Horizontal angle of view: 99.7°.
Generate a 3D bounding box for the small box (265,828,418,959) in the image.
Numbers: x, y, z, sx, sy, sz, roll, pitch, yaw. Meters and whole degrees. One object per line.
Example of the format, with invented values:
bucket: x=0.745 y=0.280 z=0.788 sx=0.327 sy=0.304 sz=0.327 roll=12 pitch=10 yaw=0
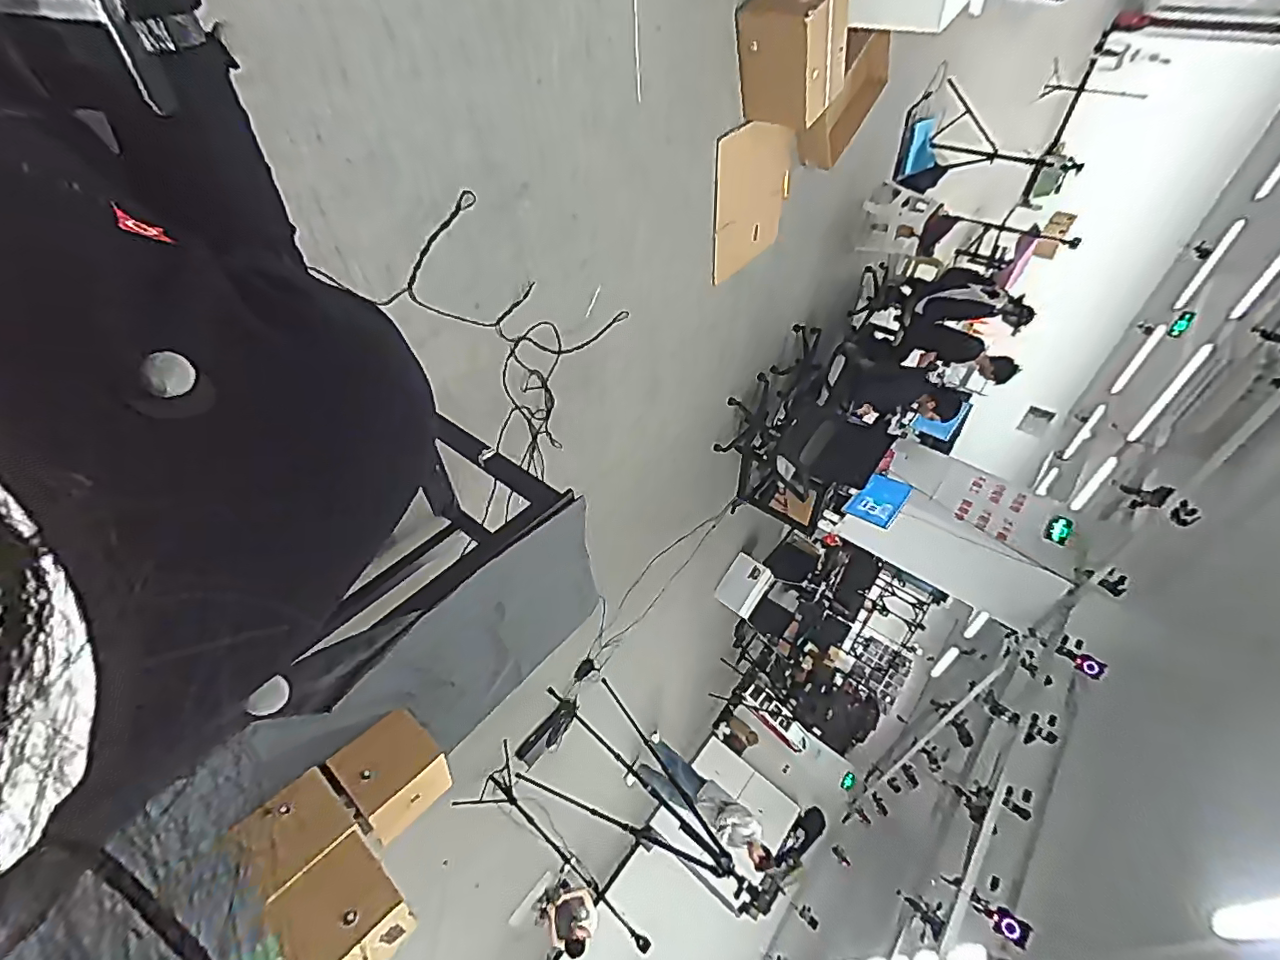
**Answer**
small box: x=-0.546 y=0.798 z=1.001 sx=0.179 sy=0.176 sz=0.168 roll=-33 pitch=142 yaw=-39
